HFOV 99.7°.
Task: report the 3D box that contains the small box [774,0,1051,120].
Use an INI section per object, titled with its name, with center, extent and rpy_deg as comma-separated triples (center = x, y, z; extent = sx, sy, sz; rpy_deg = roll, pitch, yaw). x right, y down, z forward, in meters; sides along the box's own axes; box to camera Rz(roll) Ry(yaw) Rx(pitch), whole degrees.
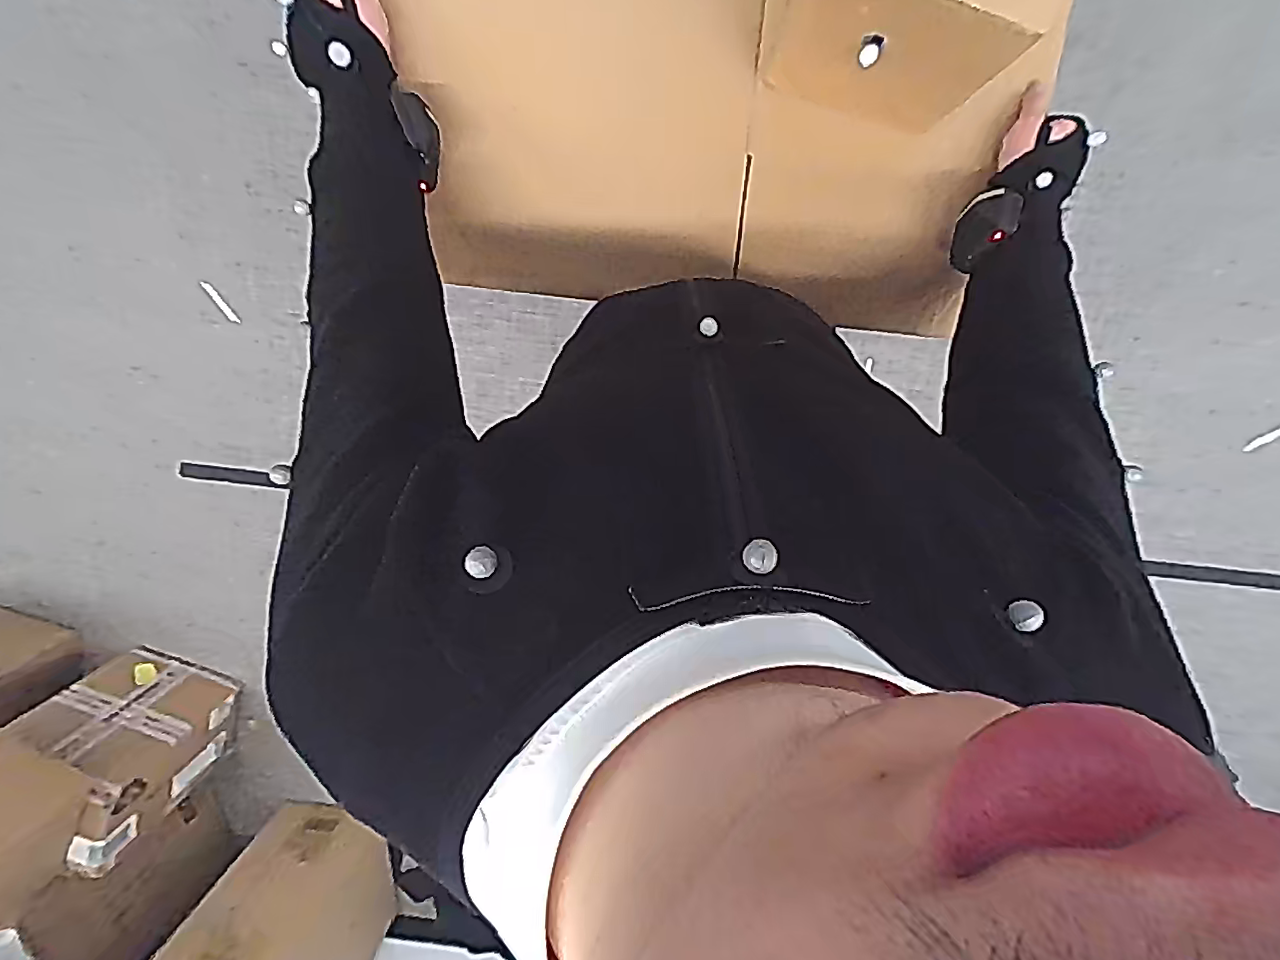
[small box]
center = 0.231, -0.443, 0.454
extent = 0.179, 0.176, 0.168
rpy_deg = 16, 101, -3
